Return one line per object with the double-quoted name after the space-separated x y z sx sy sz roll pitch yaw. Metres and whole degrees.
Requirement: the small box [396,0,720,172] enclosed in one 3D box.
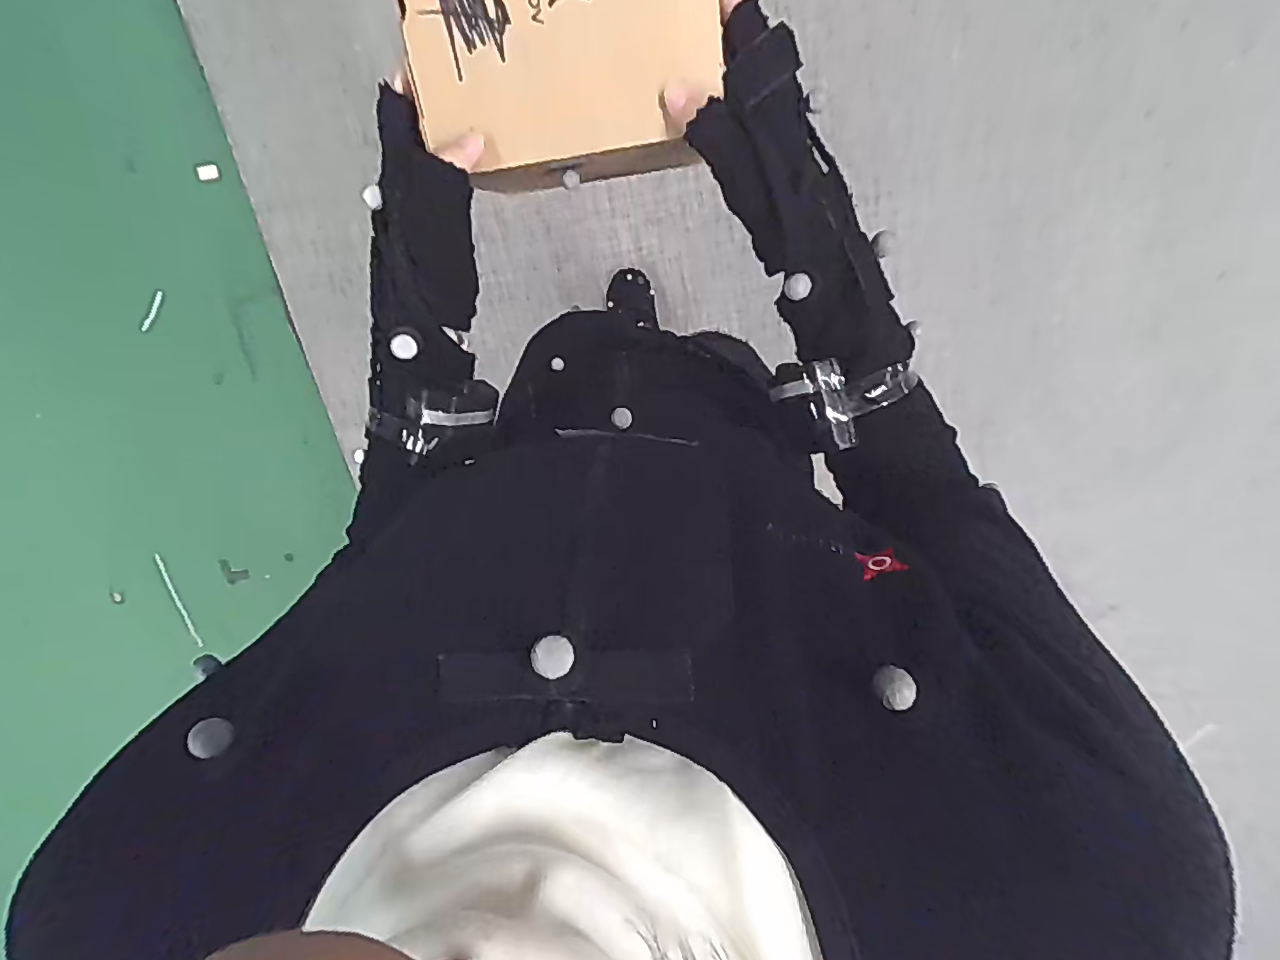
-0.046 -0.311 0.355 0.179 0.176 0.168 -6 116 5 "small box"
